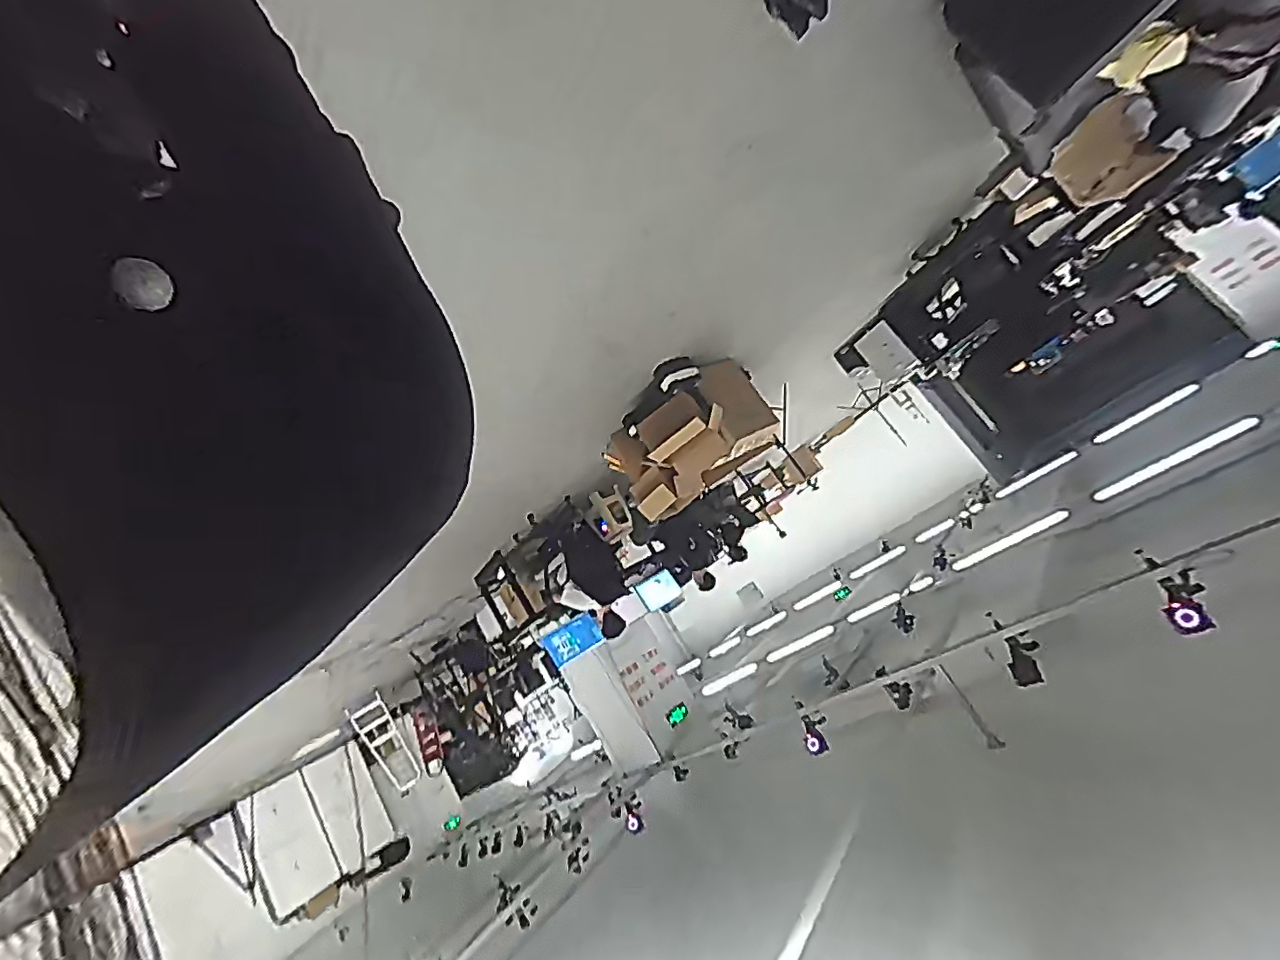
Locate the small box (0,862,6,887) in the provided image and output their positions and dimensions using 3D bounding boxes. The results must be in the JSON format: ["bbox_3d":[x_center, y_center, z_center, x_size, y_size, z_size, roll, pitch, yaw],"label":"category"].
[{"bbox_3d":[-1.926,1.100,1.506,0.168,0.176,0.179,-18,158,-48],"label":"small box"}]
